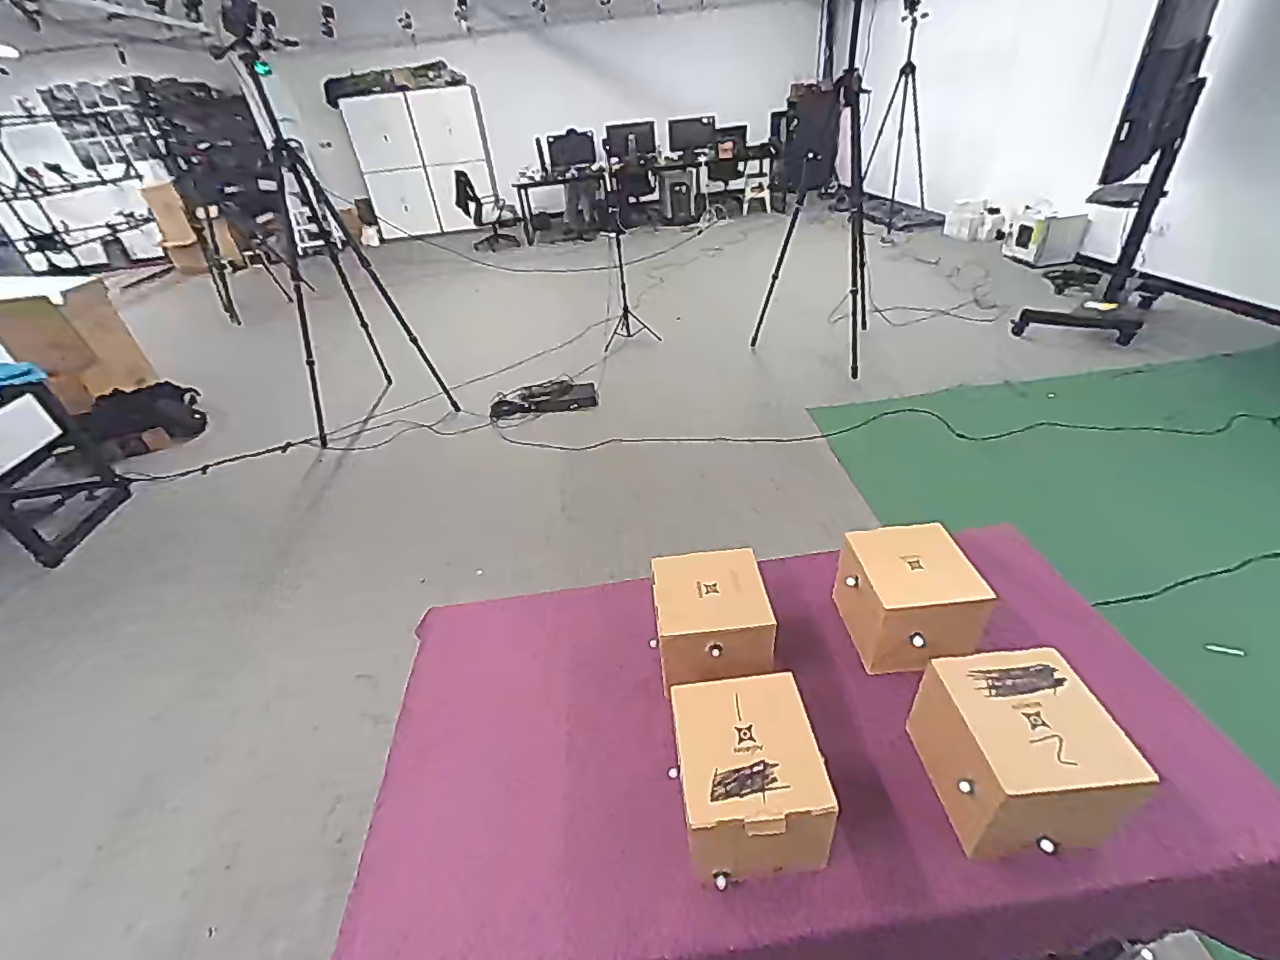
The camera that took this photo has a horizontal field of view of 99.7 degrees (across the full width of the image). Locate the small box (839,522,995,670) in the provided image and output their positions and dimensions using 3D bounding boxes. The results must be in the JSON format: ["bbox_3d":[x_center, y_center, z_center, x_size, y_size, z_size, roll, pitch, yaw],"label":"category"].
[{"bbox_3d":[0.446,0.197,0.901,0.168,0.176,0.179,-7,34,2],"label":"small box"}]

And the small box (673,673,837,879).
[{"bbox_3d":[0.139,0.382,0.696,0.168,0.176,0.179,-7,34,0],"label":"small box"}]

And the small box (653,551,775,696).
[{"bbox_3d":[0.120,0.242,0.901,0.179,0.176,0.168,-6,36,1],"label":"small box"}]
